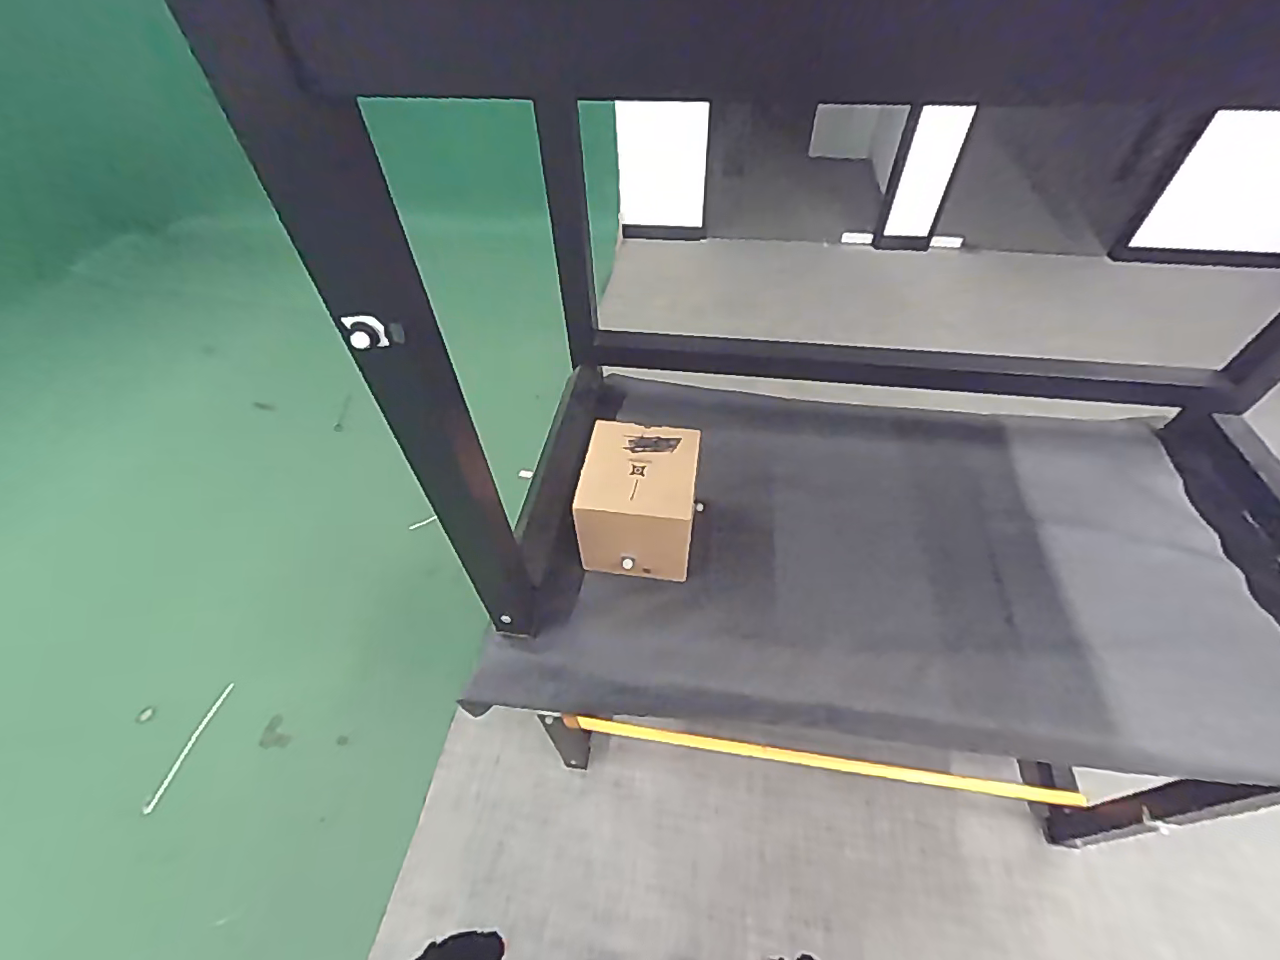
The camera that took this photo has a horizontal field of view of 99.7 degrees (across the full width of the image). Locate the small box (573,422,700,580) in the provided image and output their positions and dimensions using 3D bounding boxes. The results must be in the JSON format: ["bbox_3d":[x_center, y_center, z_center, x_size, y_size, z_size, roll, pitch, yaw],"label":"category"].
[{"bbox_3d":[0.000,0.033,0.854,0.168,0.176,0.179,6,50,6],"label":"small box"}]
